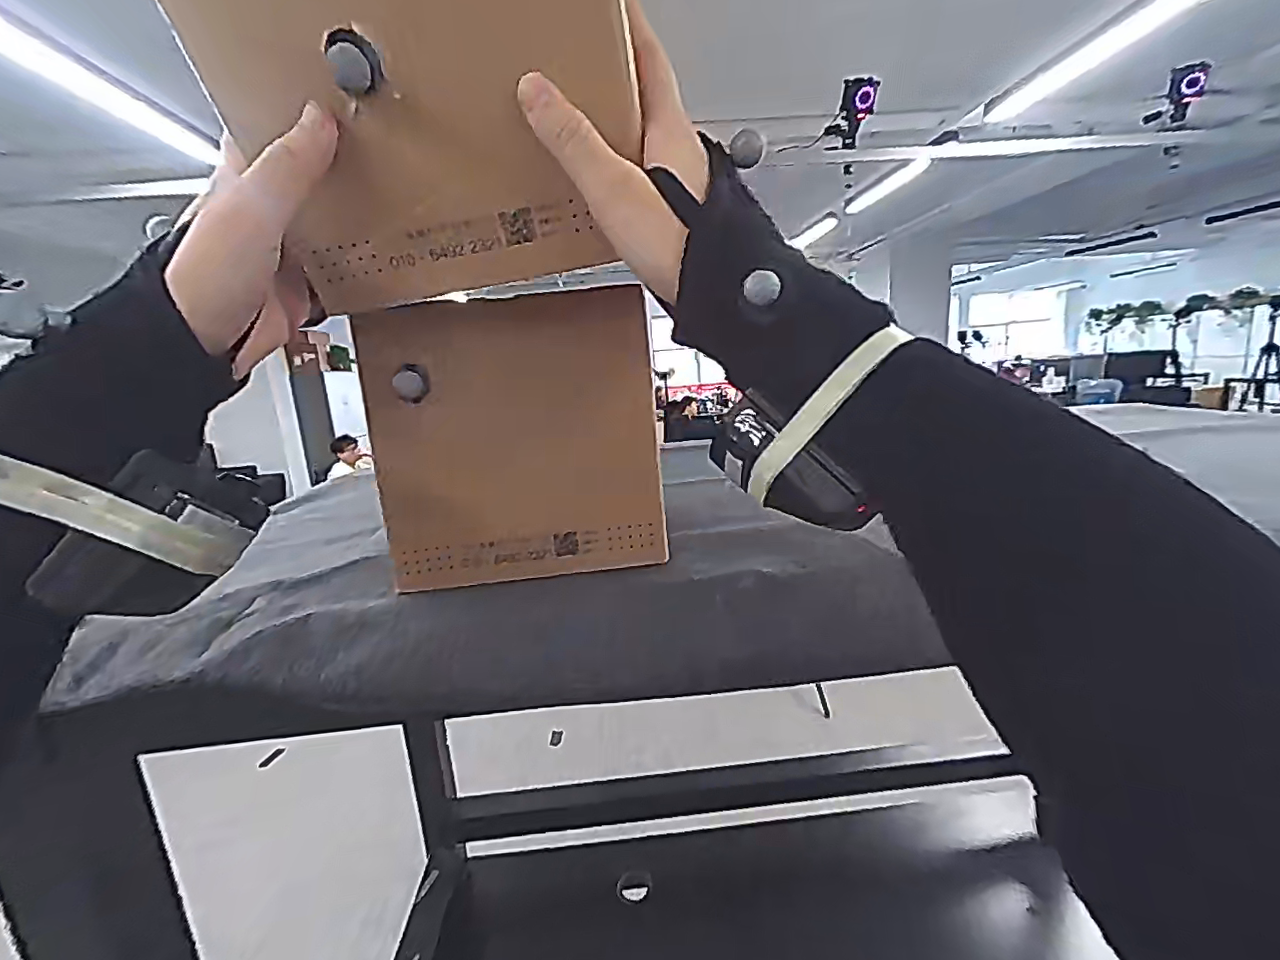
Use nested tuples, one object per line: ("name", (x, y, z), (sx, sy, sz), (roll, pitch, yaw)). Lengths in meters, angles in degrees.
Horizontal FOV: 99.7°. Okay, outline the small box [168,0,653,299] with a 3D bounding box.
("small box", (-0.091, -0.207, 0.282), (0.168, 0.176, 0.179), (-10, 37, 2))
